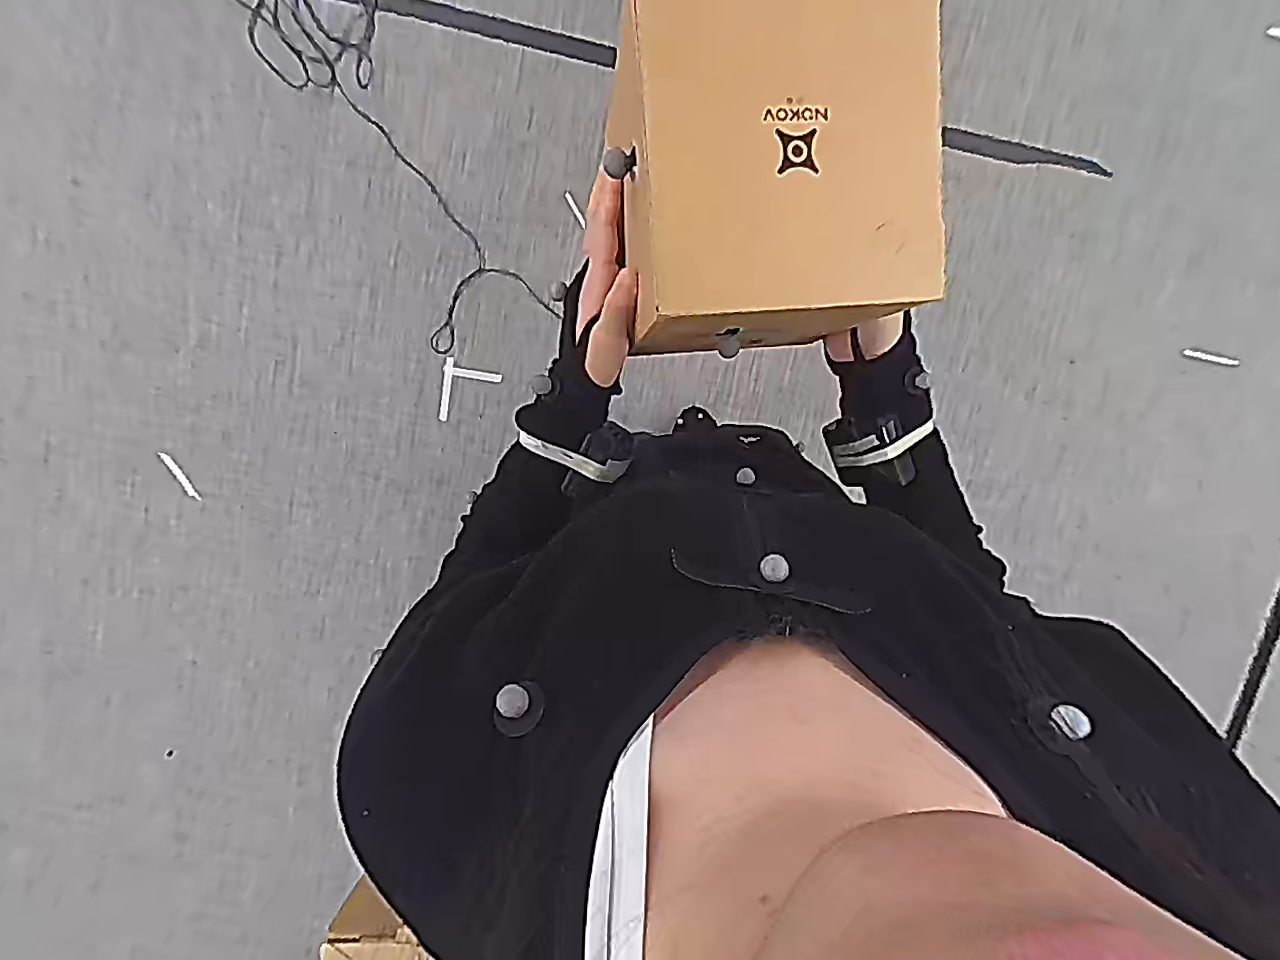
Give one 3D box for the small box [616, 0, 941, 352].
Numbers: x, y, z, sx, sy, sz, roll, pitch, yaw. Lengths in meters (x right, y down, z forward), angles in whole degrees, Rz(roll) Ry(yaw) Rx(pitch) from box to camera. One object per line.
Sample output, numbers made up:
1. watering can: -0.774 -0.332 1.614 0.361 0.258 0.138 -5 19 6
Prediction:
1. small box: 0.076 -0.188 0.372 0.168 0.176 0.179 -6 95 -7
